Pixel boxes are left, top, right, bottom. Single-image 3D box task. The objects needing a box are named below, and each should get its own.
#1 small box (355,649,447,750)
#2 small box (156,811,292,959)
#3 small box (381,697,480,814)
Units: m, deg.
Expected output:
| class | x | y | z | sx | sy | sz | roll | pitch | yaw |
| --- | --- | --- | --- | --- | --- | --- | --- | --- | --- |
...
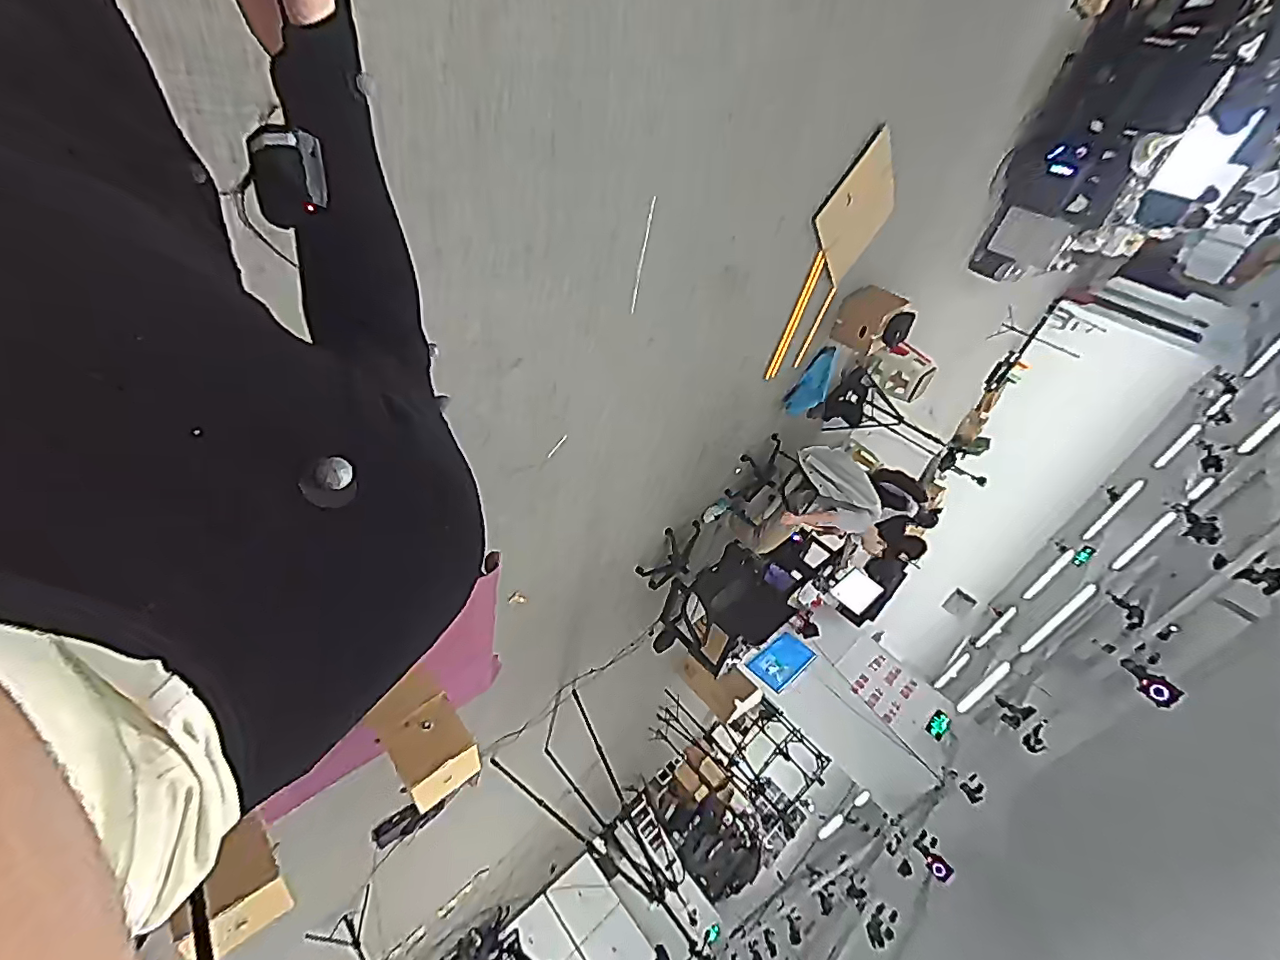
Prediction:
| class | x | y | z | sx | sy | sz | roll | pitch | yaw |
| --- | --- | --- | --- | --- | --- | --- | --- | --- | --- |
| small box | -0.623 | 0.582 | 1.424 | 0.168 | 0.176 | 0.179 | -27 | 143 | -35 |
| small box | -0.825 | 0.806 | 1.077 | 0.168 | 0.176 | 0.179 | -21 | 139 | -40 |
| small box | -0.518 | 0.677 | 1.344 | 0.168 | 0.176 | 0.179 | -27 | 143 | -33 |
